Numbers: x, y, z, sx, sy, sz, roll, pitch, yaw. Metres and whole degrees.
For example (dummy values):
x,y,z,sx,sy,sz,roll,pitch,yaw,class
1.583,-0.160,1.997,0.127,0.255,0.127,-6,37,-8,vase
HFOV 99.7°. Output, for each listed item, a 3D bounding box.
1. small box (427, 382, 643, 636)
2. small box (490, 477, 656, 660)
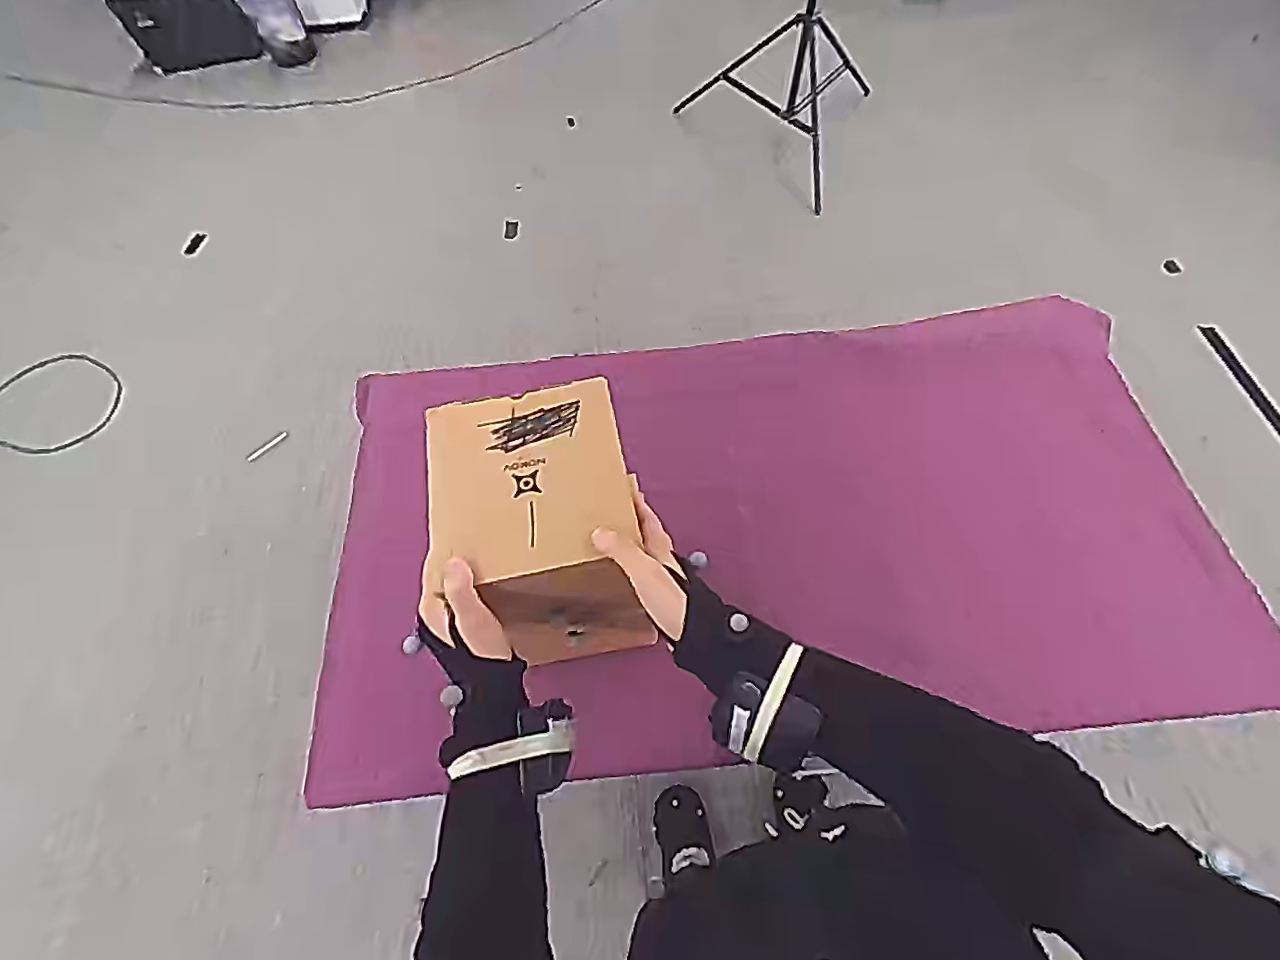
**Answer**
x,y,z,sx,sy,sz,roll,pitch,yaw,class
-0.094,0.035,0.524,0.168,0.176,0.179,-12,63,-4,small box
-0.079,0.116,0.668,0.179,0.176,0.168,-9,62,-2,small box
